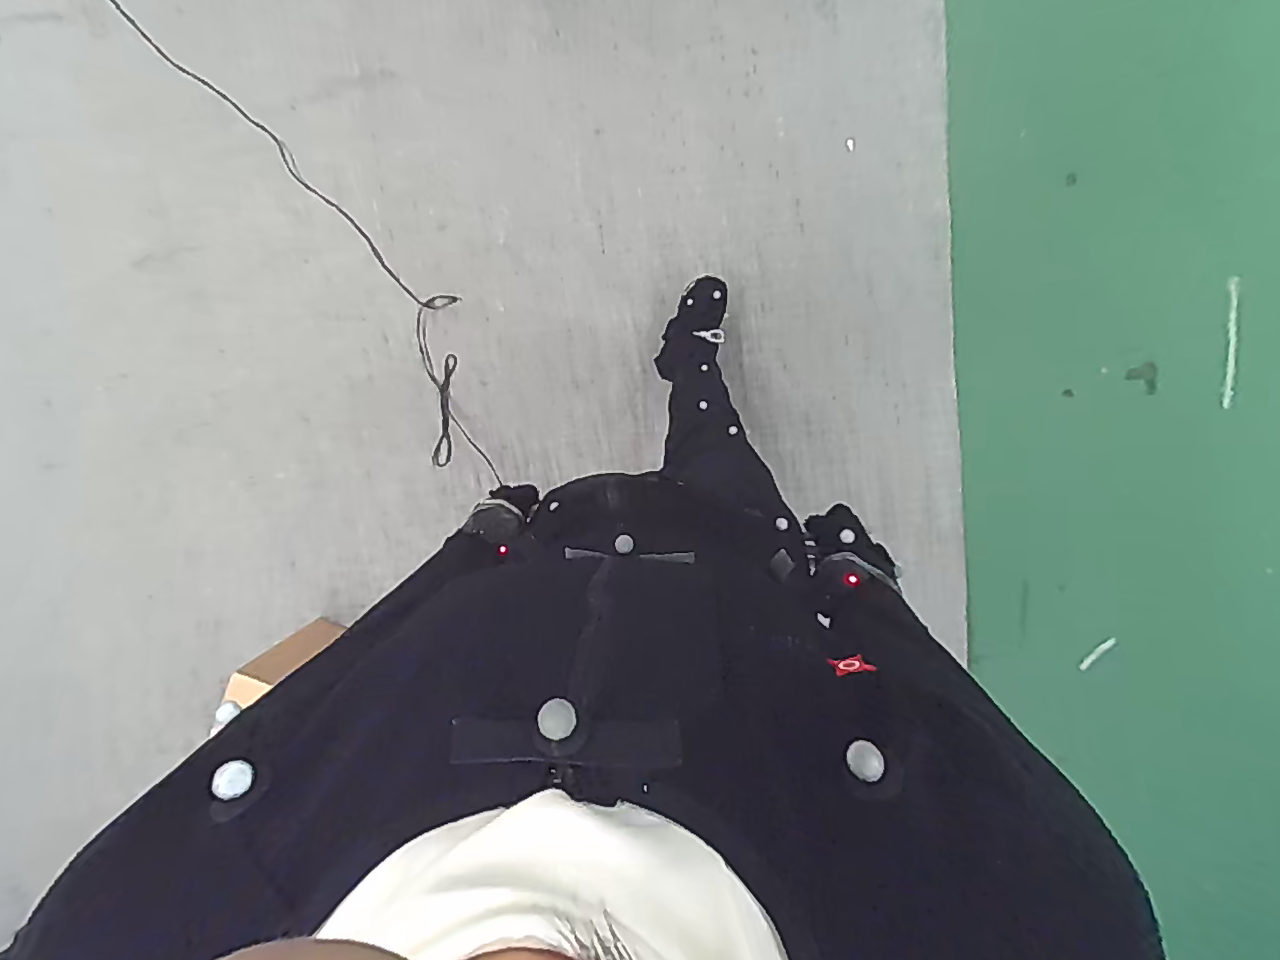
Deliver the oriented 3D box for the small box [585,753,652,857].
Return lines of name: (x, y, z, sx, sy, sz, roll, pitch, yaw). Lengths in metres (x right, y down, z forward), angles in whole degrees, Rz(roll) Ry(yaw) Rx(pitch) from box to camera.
small box: (-0.054, 0.849, 1.424, 0.168, 0.176, 0.179, 1, 100, 1)
